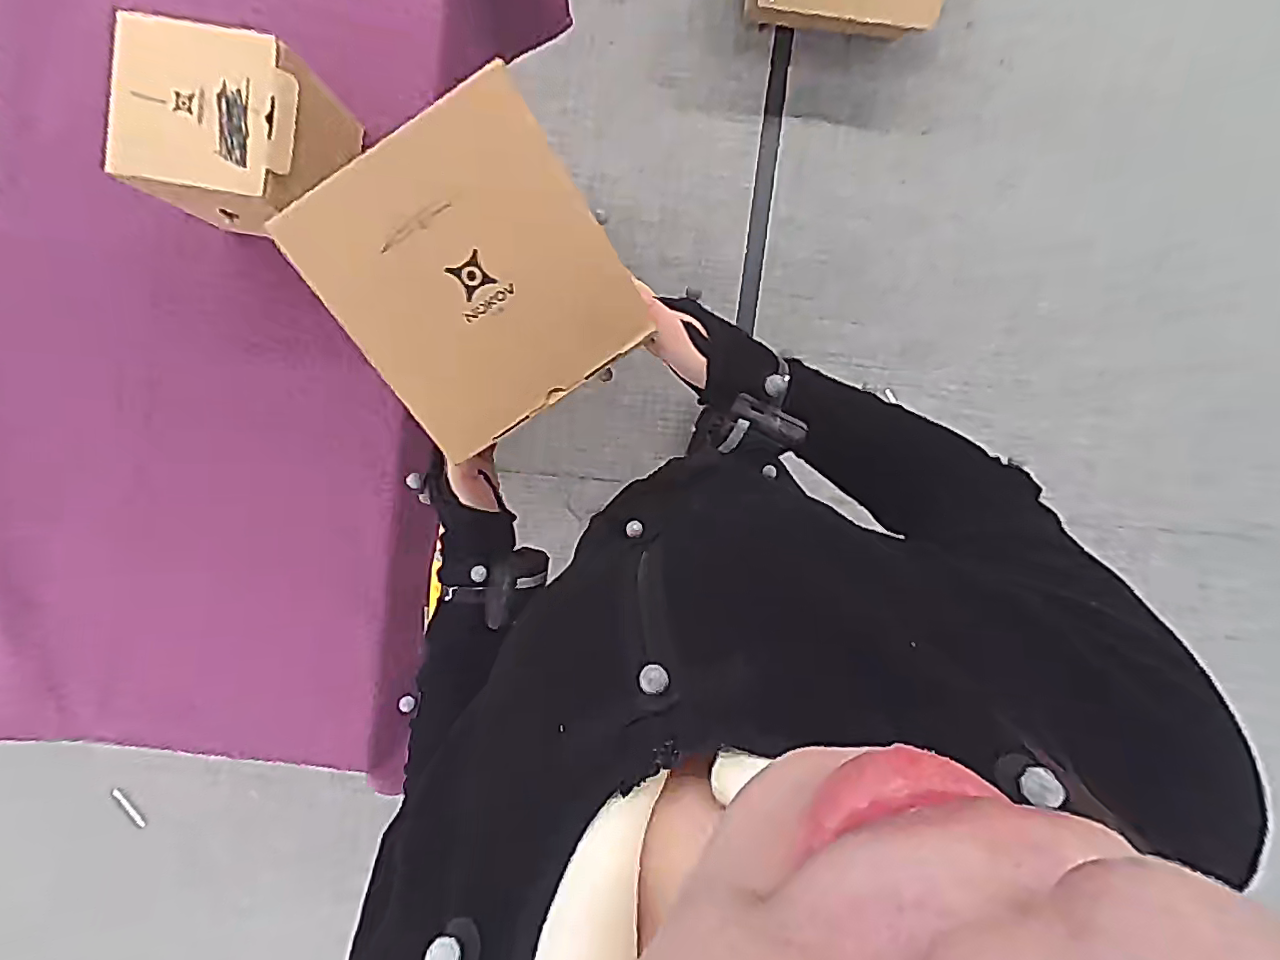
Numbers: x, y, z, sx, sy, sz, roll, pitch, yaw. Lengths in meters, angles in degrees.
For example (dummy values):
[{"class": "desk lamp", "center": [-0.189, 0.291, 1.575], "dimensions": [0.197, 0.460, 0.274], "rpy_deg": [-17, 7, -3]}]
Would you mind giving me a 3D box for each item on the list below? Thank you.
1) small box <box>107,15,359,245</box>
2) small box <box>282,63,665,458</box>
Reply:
[{"class": "small box", "center": [-0.469, -0.396, 0.648], "dimensions": [0.179, 0.176, 0.168], "rpy_deg": [10, 95, 0]}, {"class": "small box", "center": [-0.103, -0.146, 0.406], "dimensions": [0.168, 0.176, 0.179], "rpy_deg": [-32, 107, 2]}]
